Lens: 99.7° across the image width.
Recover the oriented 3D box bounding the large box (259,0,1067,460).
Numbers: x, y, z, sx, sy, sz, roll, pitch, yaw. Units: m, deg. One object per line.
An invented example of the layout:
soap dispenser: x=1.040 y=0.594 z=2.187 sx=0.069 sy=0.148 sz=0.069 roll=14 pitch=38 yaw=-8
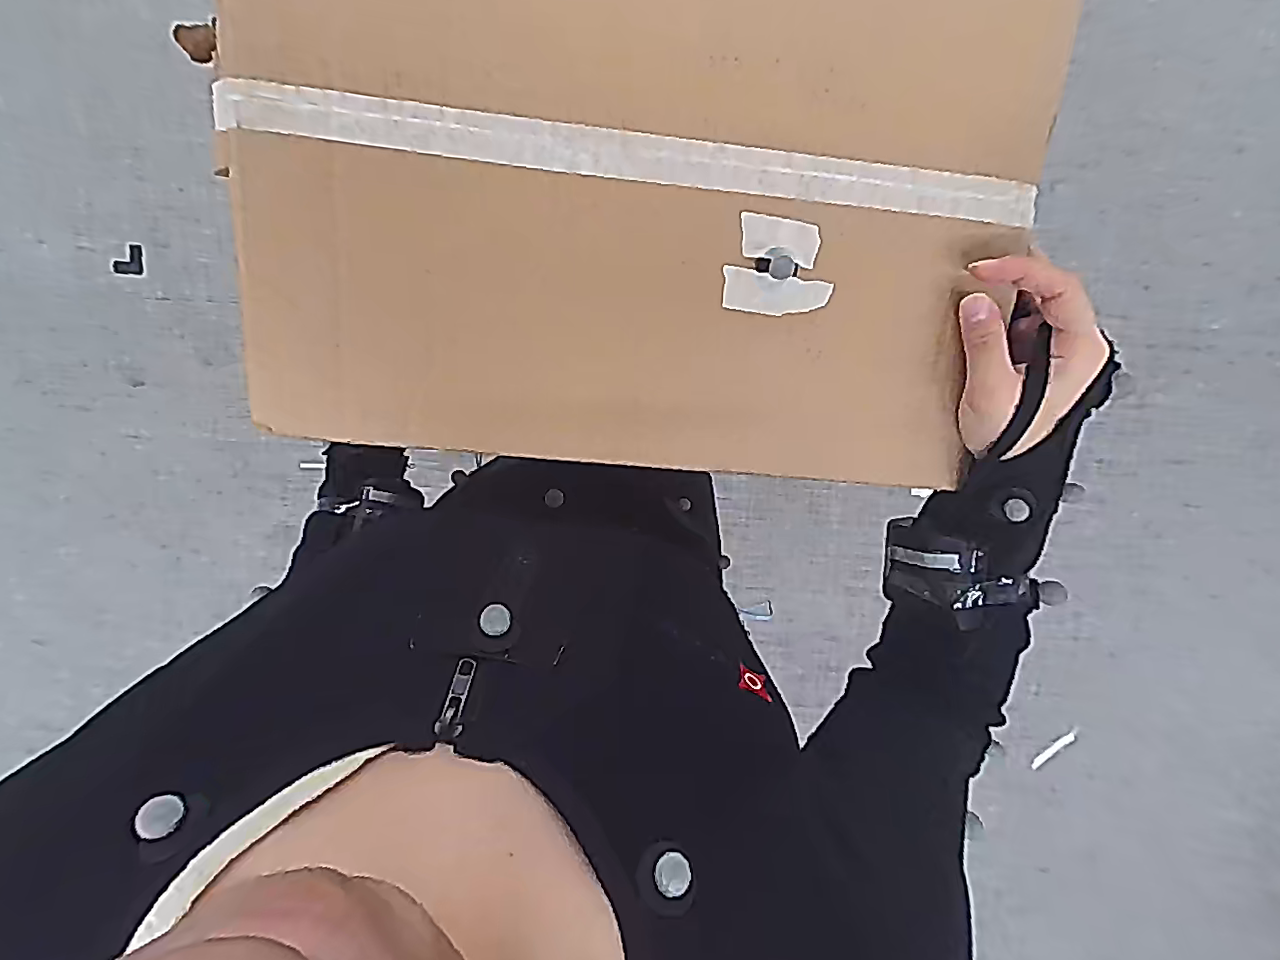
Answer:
large box: x=0.001 y=-0.205 z=0.424 sx=0.408 sy=0.320 sz=0.320 roll=4 pitch=104 yaw=-7
